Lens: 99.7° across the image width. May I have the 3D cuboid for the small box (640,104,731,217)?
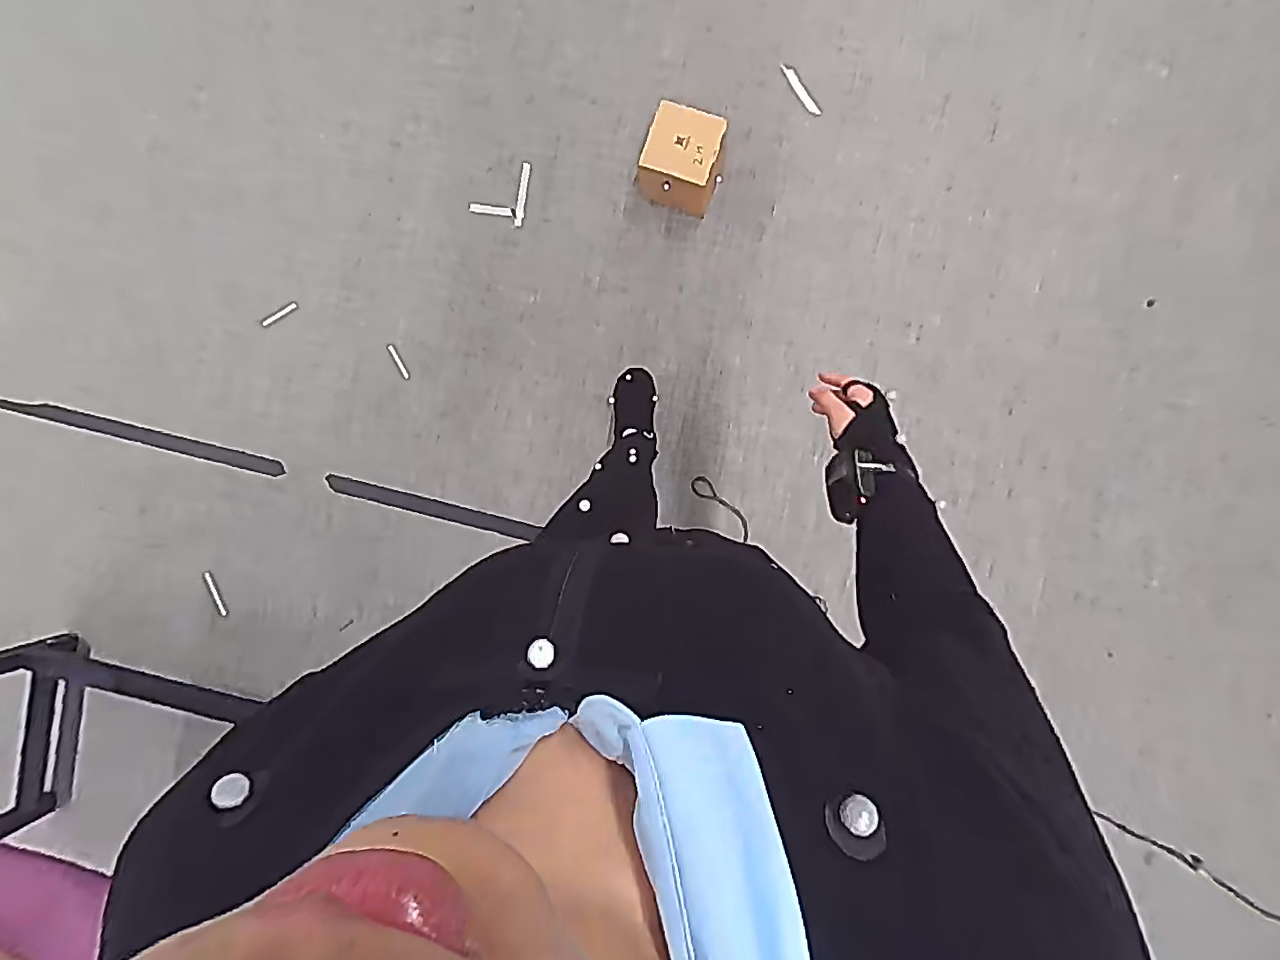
[{"bbox_3d":[0.116,-0.803,1.378,0.179,0.176,0.168,21,94,5],"label":"small box"}]
